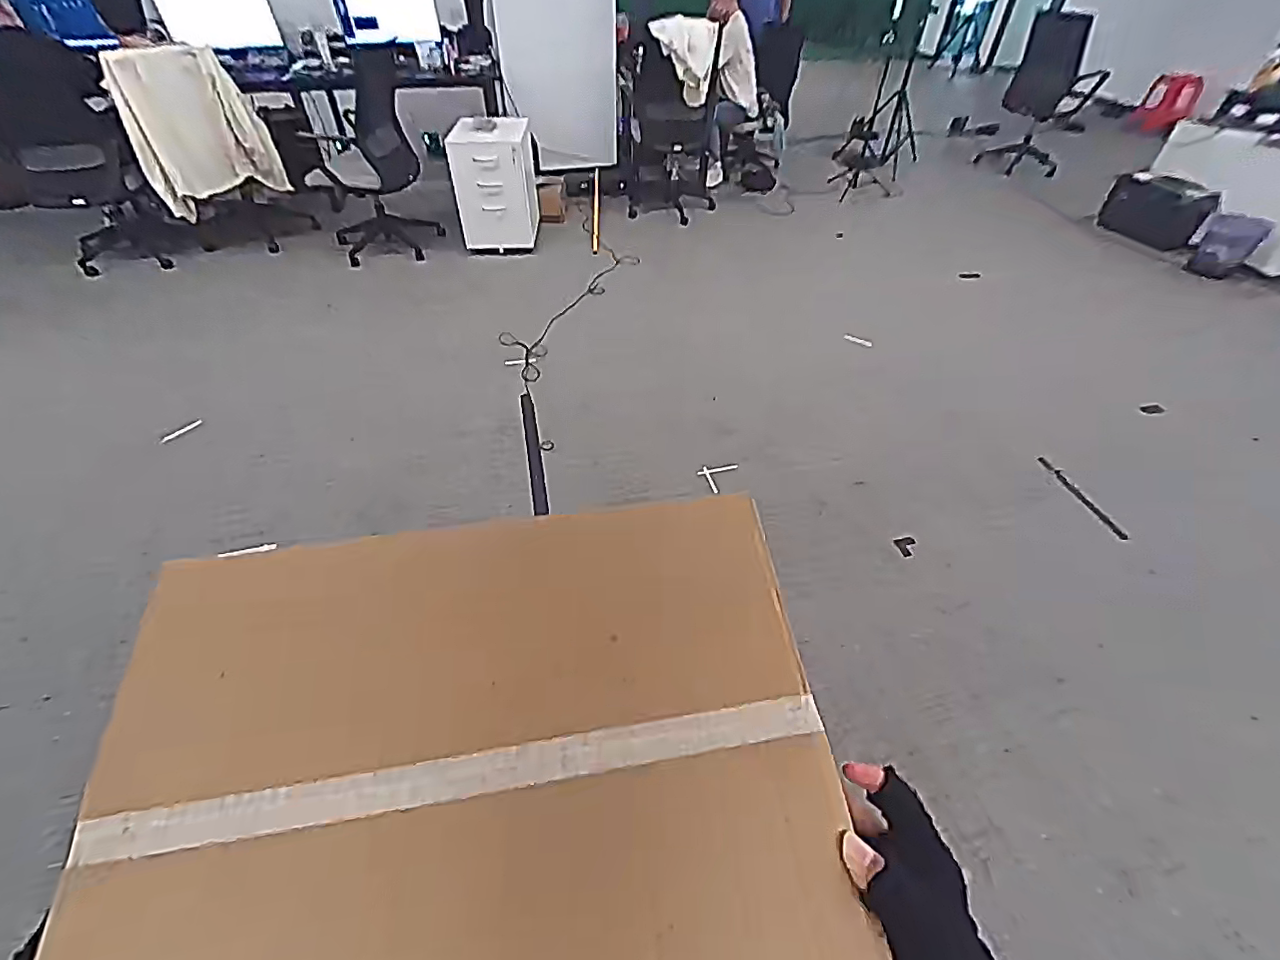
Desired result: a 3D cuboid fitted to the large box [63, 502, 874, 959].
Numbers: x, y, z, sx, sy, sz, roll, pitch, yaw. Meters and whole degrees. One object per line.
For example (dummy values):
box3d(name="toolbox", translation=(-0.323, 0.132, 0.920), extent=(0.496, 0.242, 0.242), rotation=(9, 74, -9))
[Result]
box3d(name="large box", translation=(-0.098, 0.246, 0.443), extent=(0.408, 0.320, 0.320), rotation=(-7, 59, -6))
